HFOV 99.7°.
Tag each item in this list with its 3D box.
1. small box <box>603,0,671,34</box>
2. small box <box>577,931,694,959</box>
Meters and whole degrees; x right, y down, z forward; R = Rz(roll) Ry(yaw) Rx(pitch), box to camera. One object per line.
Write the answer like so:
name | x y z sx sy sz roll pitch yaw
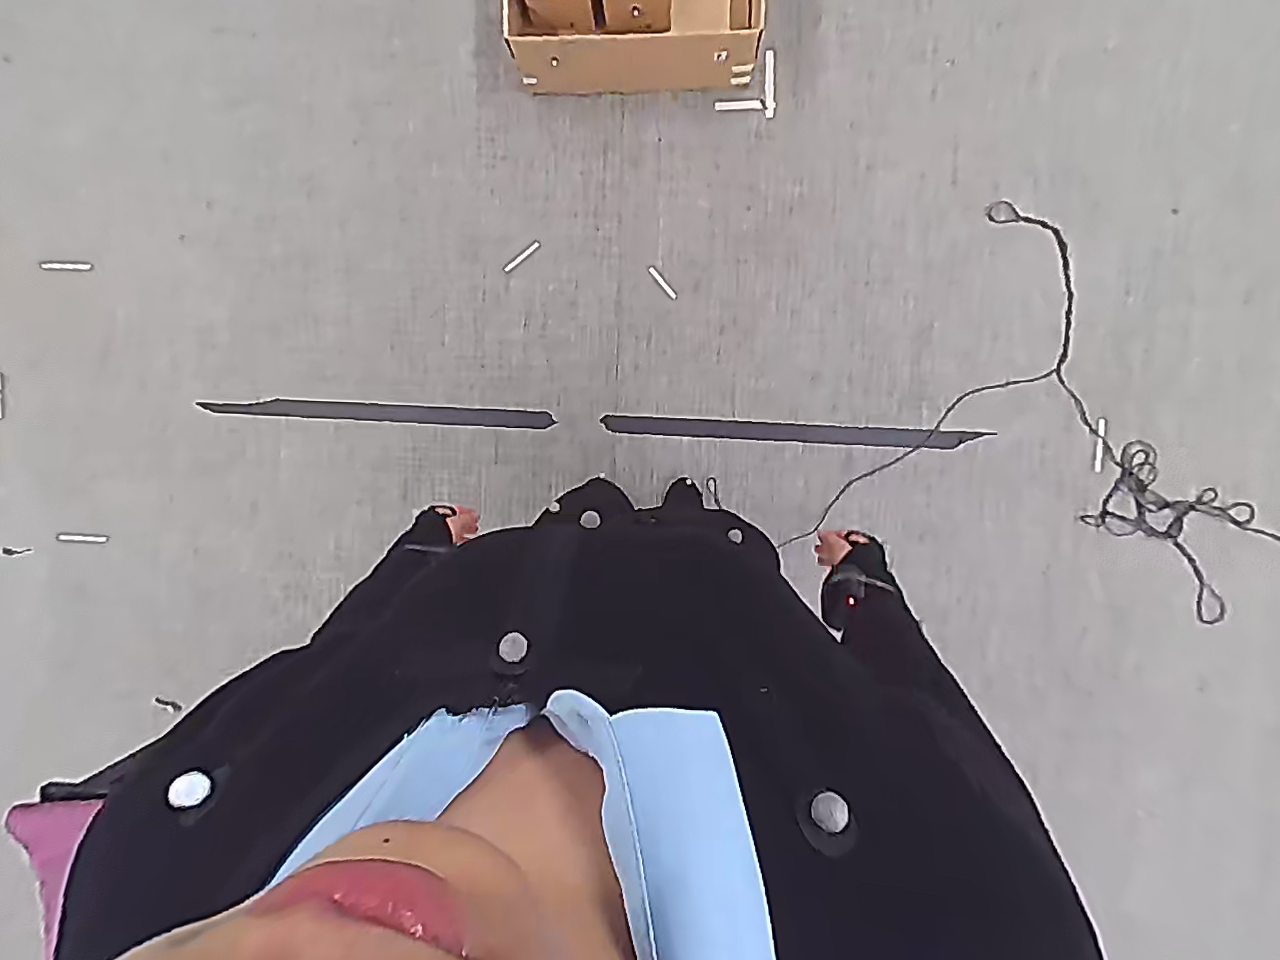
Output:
small box | -0.009 -1.231 1.314 0.168 0.176 0.179 -3 92 3
small box | -0.010 0.751 0.709 0.168 0.176 0.179 -1 92 5
